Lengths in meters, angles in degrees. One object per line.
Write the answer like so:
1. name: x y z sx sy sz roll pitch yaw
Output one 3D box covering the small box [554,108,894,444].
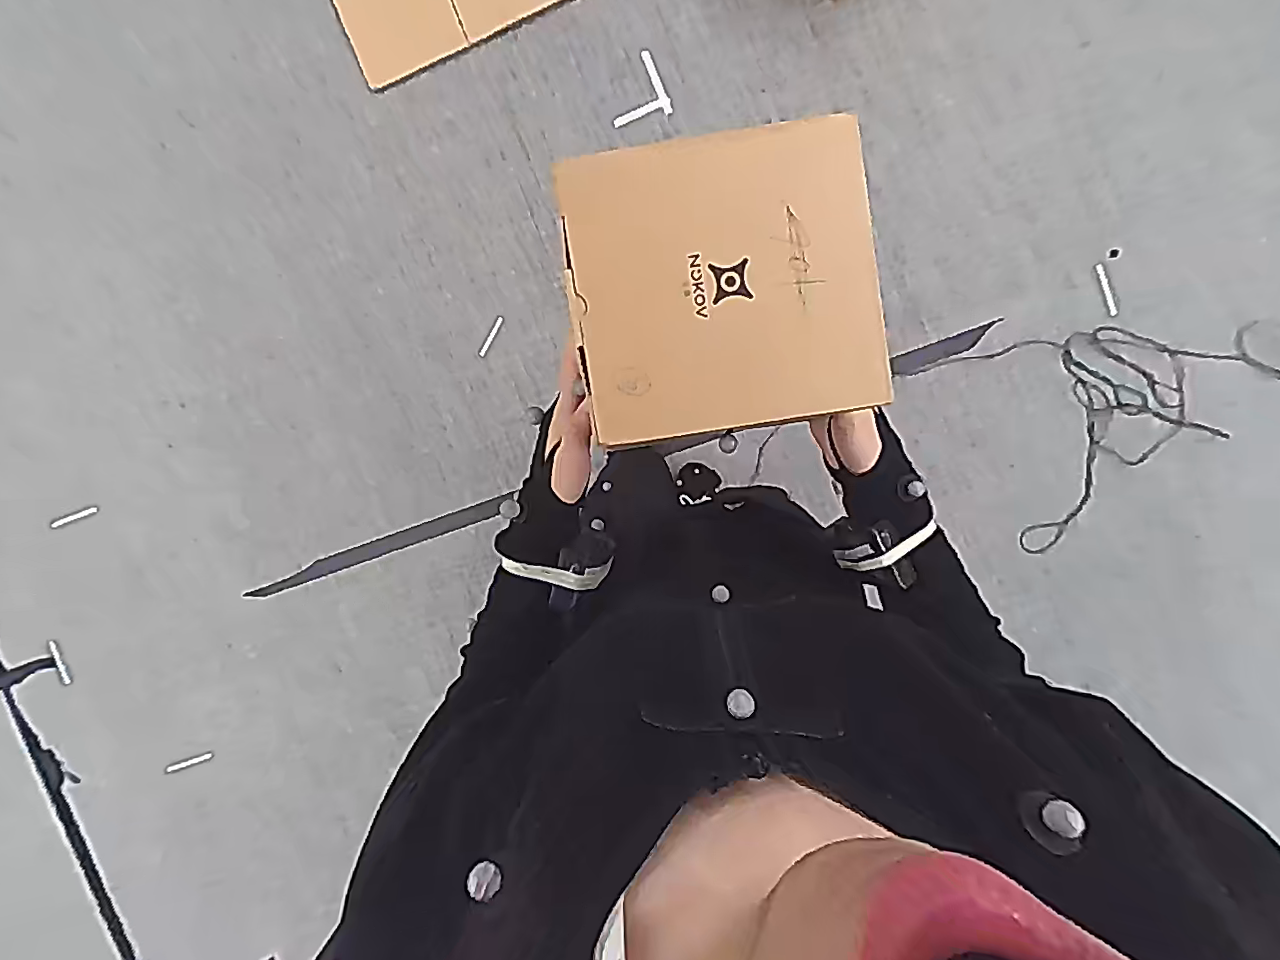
1. small box: 0.050 -0.118 0.387 0.179 0.176 0.168 -9 93 1
